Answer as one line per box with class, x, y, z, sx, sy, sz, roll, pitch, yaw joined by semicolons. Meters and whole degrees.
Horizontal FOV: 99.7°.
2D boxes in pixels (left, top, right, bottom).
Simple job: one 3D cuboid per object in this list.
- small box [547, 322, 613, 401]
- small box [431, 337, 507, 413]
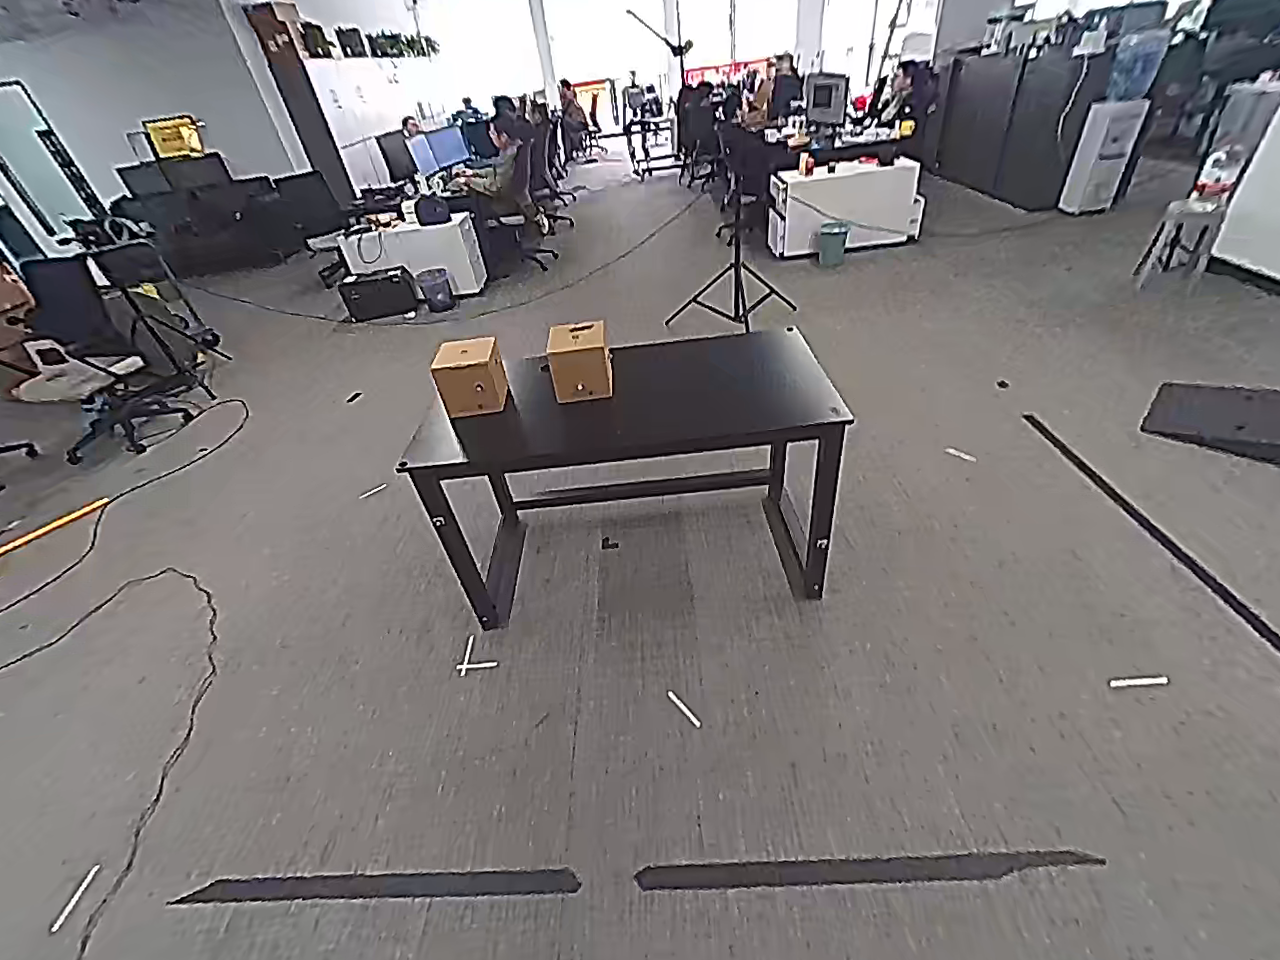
small box;-0.176;-0.356;1.626;0.168;0.176;0.179;-7;39;2
small box;-0.505;-0.311;1.628;0.168;0.176;0.179;-7;37;-1
